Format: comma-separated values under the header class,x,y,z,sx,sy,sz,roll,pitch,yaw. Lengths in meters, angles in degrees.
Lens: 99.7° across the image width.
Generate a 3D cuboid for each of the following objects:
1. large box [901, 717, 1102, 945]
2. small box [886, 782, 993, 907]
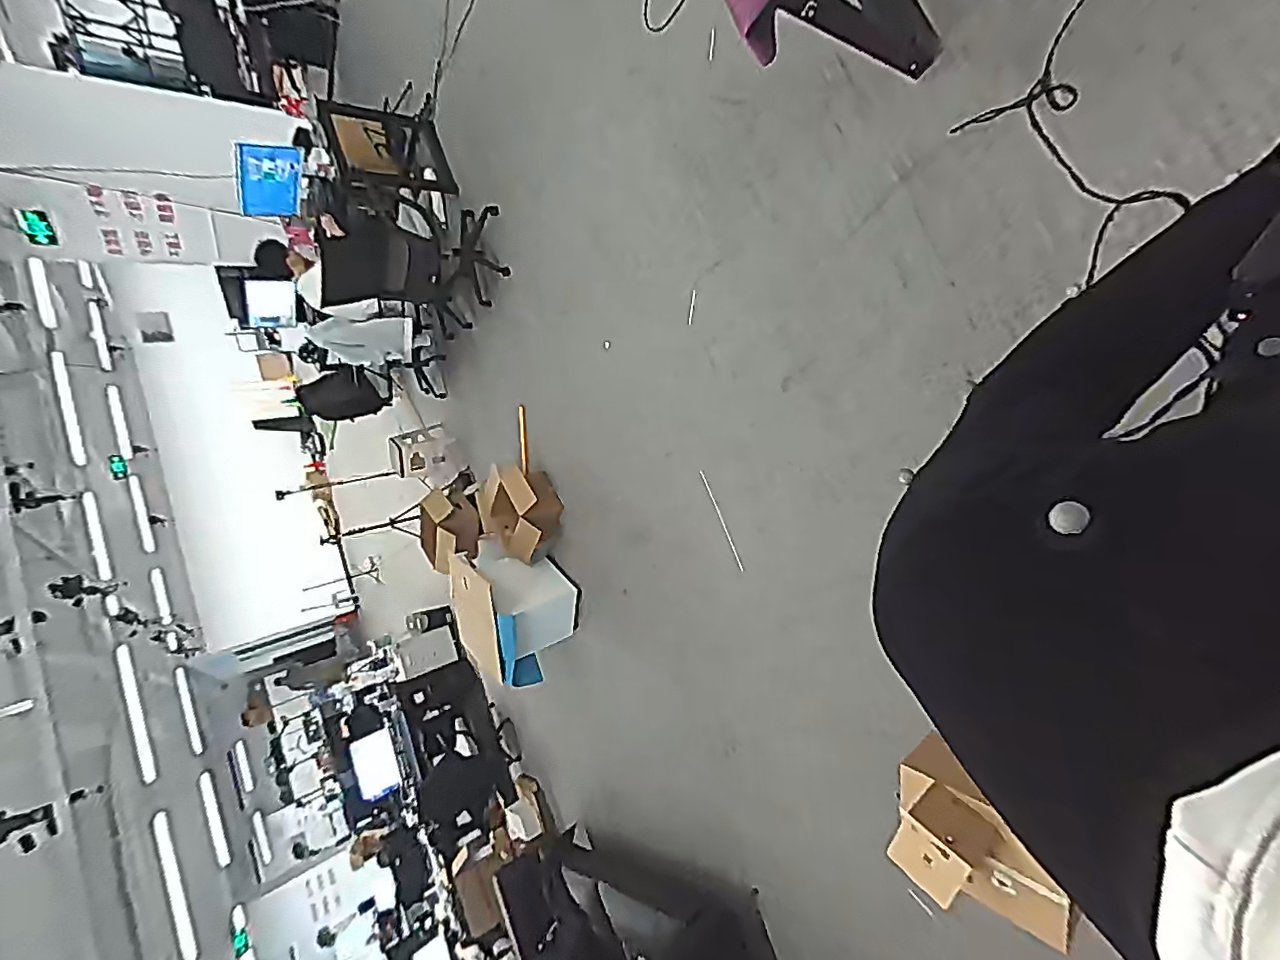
class,x,y,z,sx,sy,sz,roll,pitch,yaw
large box,1.010,0.944,1.527,0.408,0.320,0.320,6,107,50
small box,0.782,0.942,1.409,0.168,0.176,0.179,33,125,42
